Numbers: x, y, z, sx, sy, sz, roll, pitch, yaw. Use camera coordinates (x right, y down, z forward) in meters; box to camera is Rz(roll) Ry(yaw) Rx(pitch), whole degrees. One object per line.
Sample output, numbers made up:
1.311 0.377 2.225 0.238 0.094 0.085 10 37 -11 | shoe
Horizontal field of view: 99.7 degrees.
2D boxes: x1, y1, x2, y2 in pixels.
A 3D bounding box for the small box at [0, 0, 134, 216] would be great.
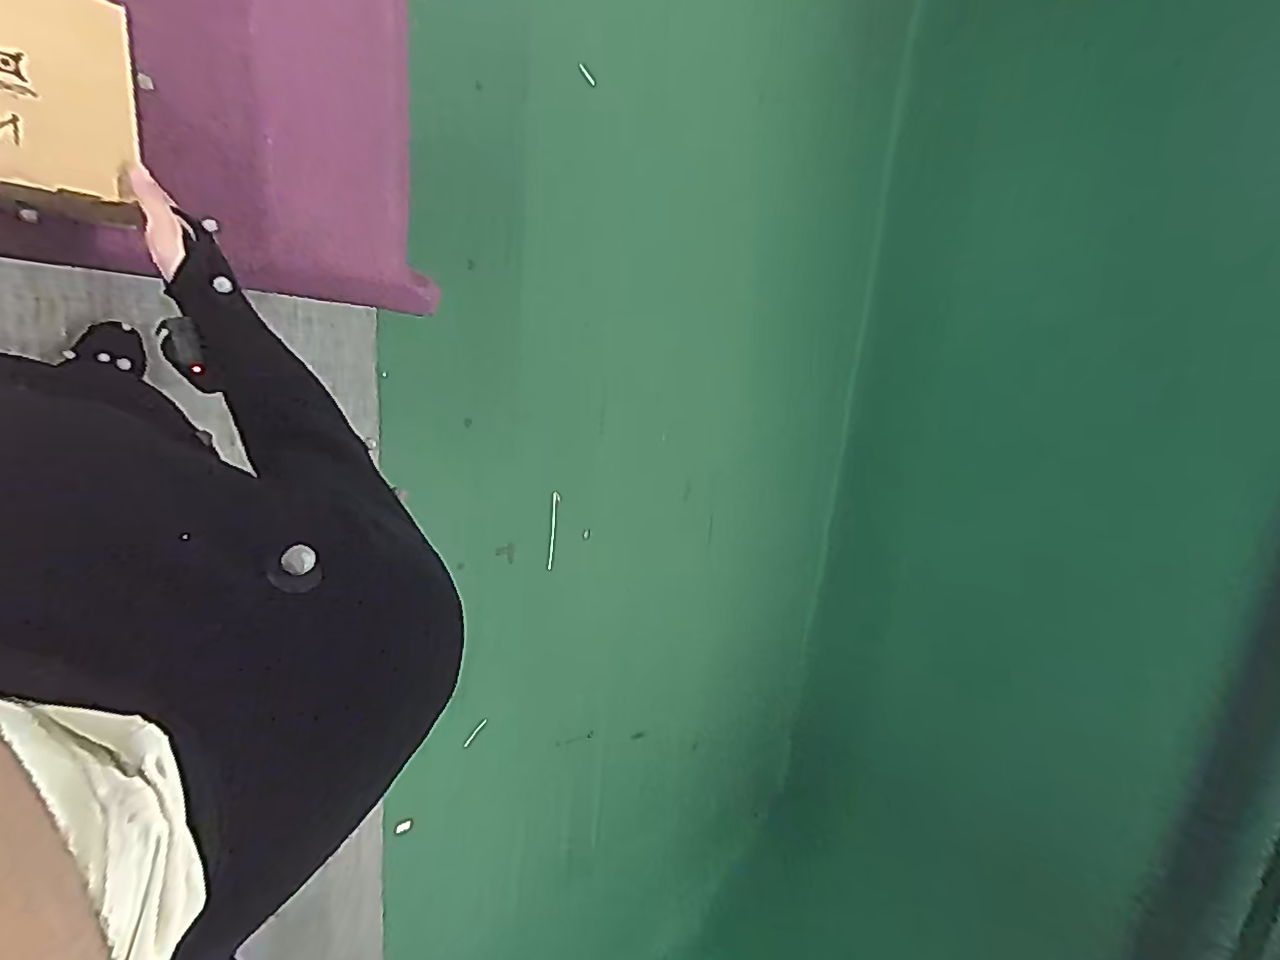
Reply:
-0.598 -0.371 0.506 0.168 0.176 0.179 -6 104 -45 | small box
